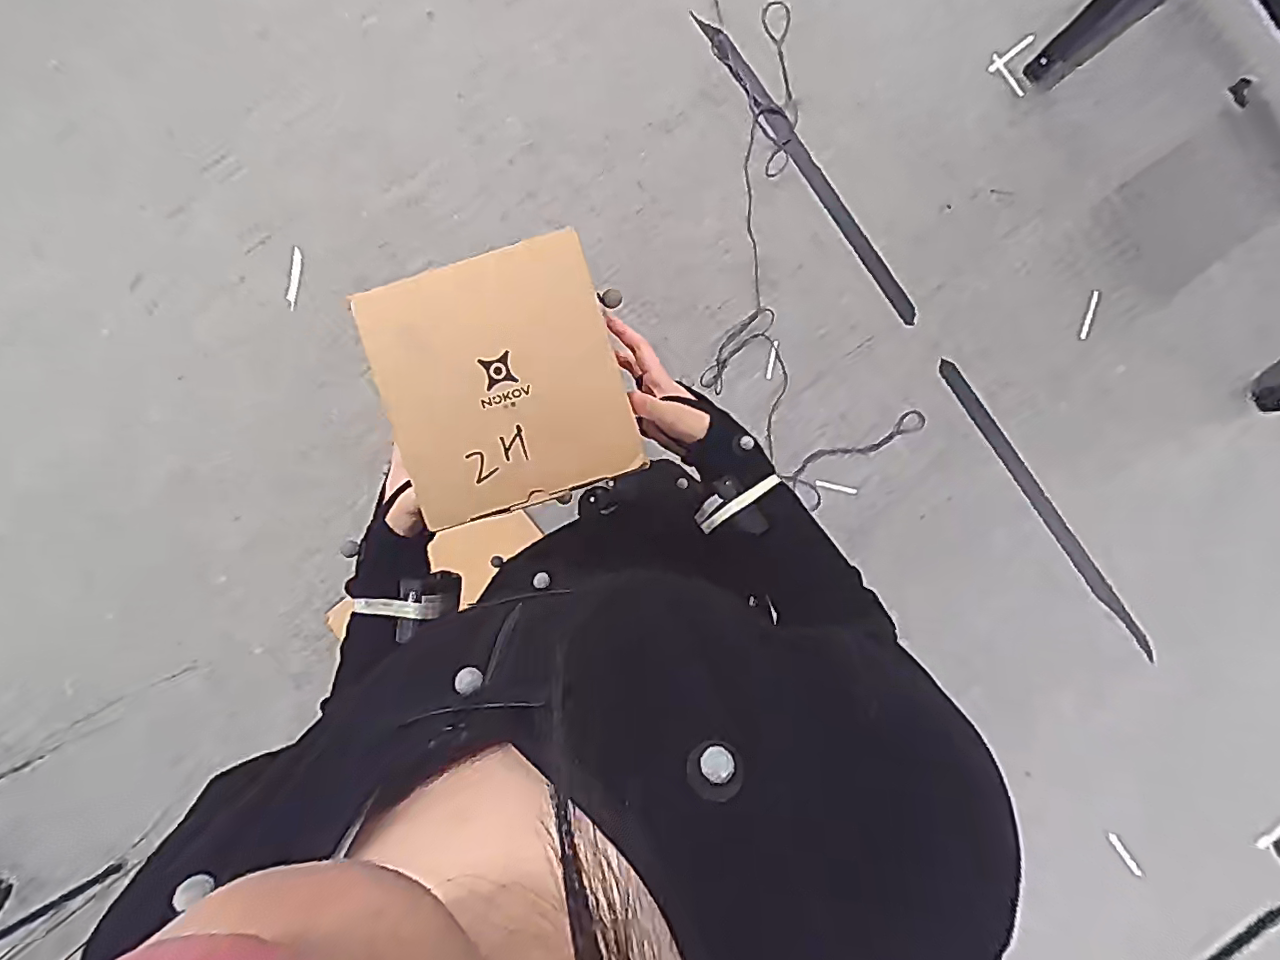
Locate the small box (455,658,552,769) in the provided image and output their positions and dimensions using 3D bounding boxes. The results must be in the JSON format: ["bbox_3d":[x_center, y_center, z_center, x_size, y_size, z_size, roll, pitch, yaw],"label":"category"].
[{"bbox_3d":[-0.345,0.599,1.407,0.168,0.176,0.179,-29,94,-1],"label":"small box"}]

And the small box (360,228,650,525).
[{"bbox_3d":[-0.095,-0.076,0.457,0.168,0.176,0.179,-16,95,1],"label":"small box"}]

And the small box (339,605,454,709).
[{"bbox_3d":[-0.620,0.444,1.398,0.168,0.176,0.179,-43,92,1],"label":"small box"}]
